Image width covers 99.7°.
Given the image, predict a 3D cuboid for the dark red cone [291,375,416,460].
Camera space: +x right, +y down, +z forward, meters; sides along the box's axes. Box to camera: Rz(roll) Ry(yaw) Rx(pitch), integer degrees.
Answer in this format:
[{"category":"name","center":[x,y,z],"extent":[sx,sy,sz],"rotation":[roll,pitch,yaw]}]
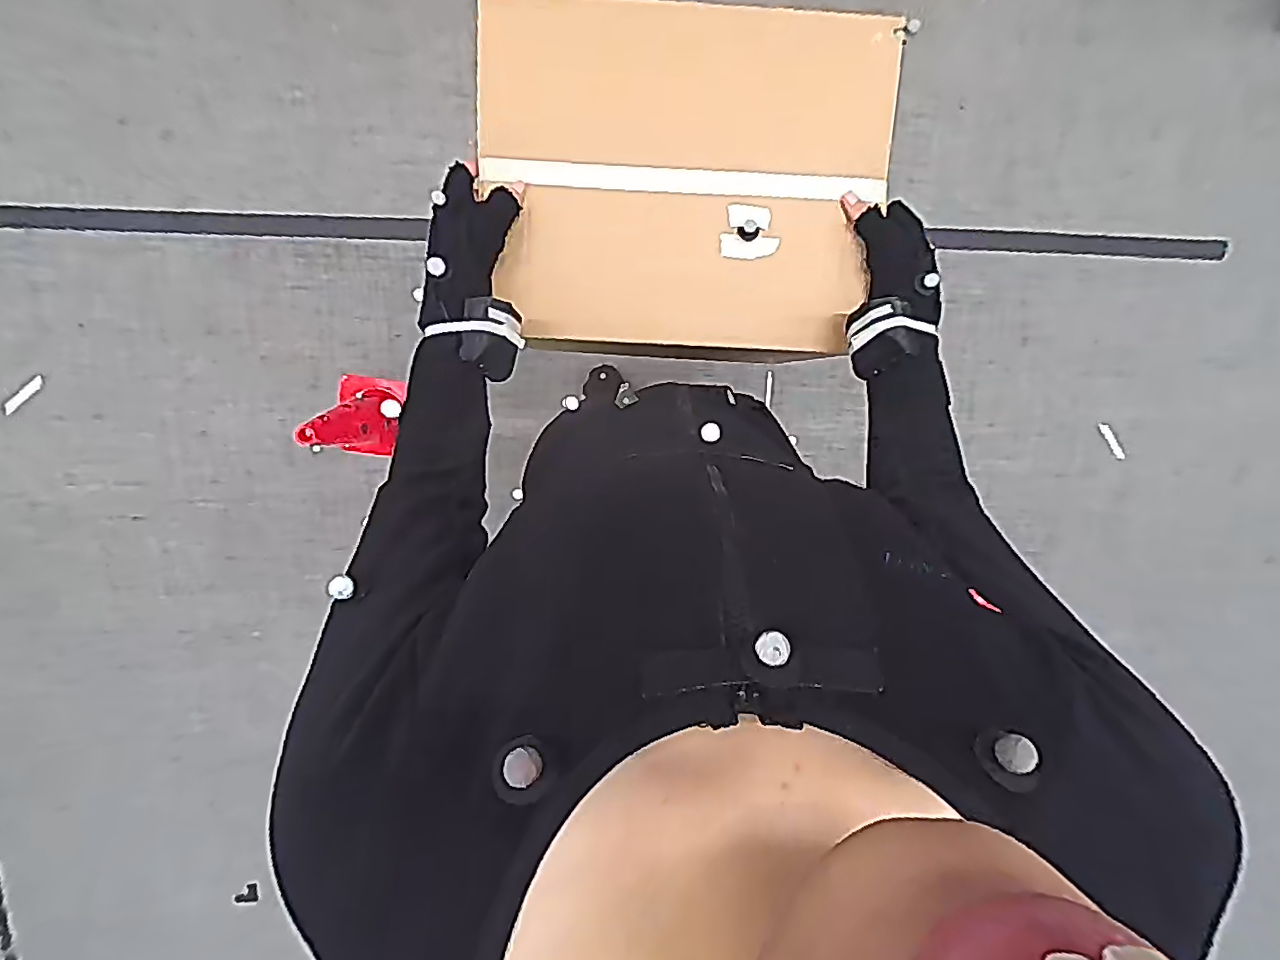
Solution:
[{"category":"dark red cone","center":[-0.661,-0.124,1.213],"extent":[0.201,0.394,0.202],"rotation":[6,102,-6]}]

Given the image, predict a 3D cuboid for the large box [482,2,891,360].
[{"category":"large box","center":[0.037,-0.322,0.689],"extent":[0.408,0.320,0.320],"rotation":[2,100,-2]}]
